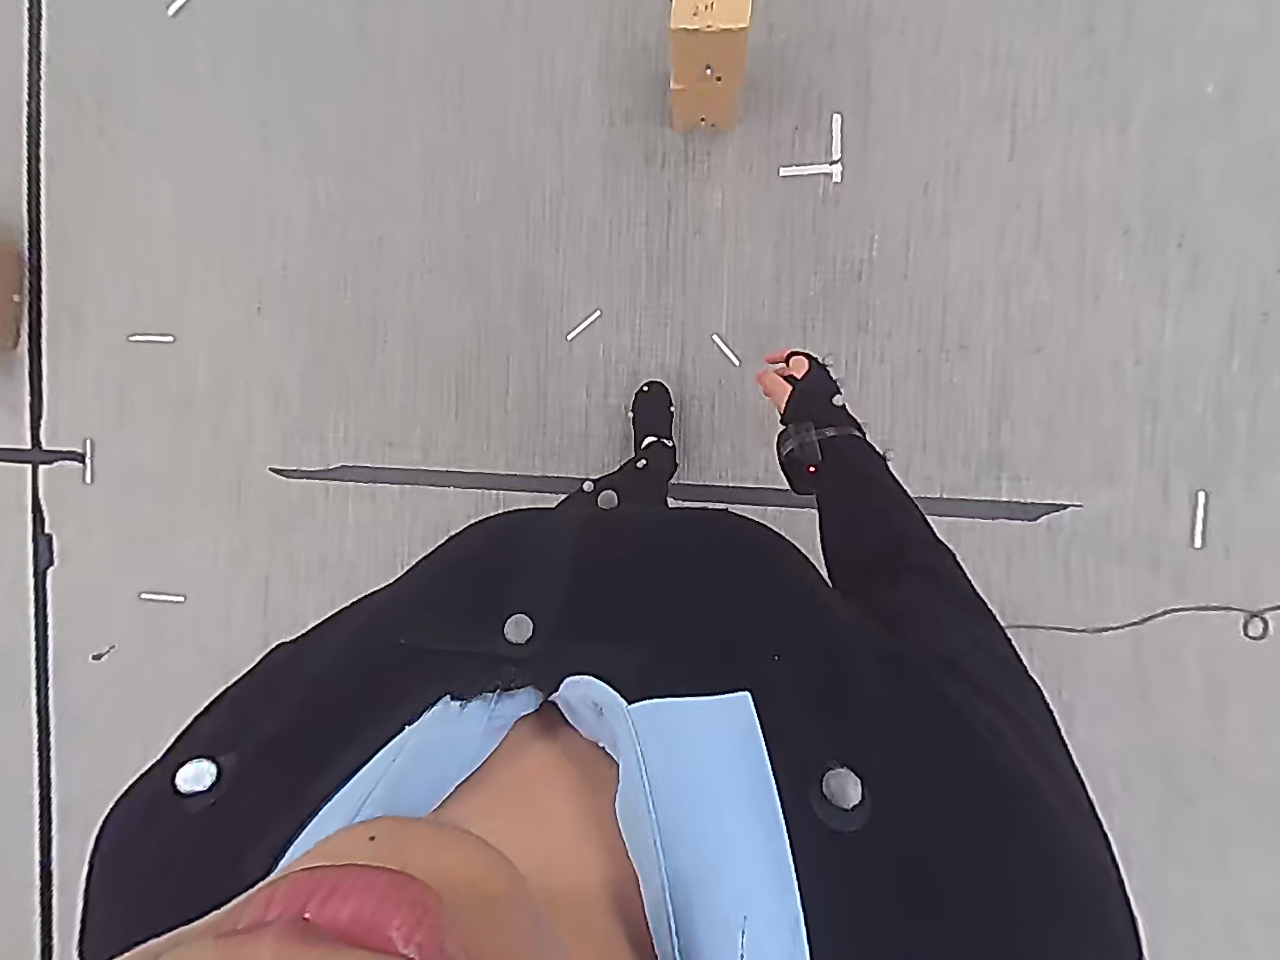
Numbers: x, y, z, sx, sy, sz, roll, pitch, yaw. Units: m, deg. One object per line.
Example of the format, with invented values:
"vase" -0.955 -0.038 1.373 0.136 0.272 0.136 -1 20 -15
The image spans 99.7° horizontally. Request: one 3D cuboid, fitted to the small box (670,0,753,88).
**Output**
"small box" 0.160 -1.011 1.191 0.168 0.176 0.179 6 93 8
